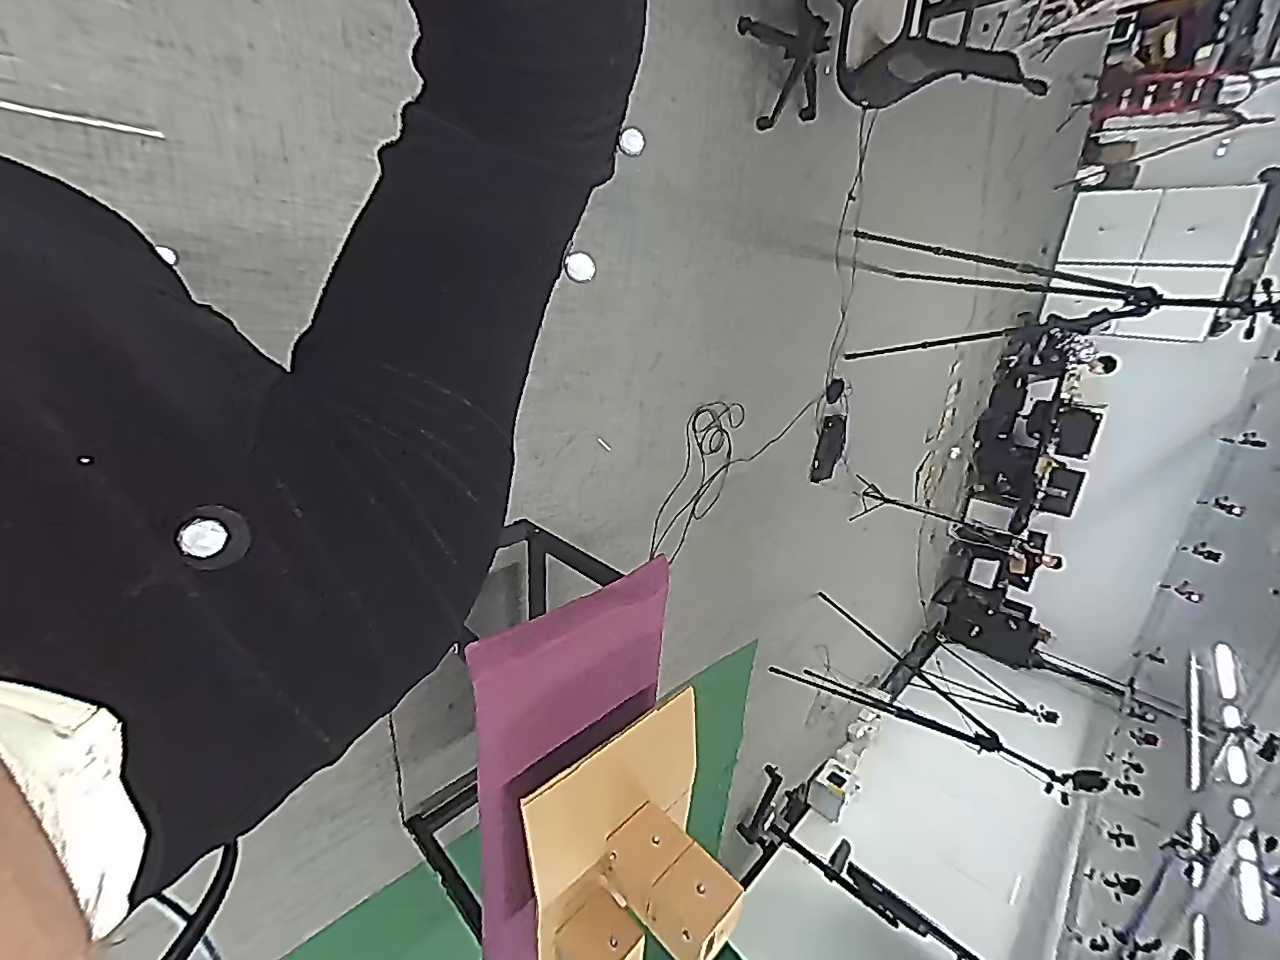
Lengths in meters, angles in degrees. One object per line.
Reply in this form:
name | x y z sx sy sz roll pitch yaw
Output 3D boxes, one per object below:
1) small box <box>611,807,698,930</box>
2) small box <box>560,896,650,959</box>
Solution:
small box | 0.035 1.065 1.495 0.179 0.176 0.168 -19 122 -43
small box | -0.096 1.289 1.455 0.179 0.176 0.168 -17 119 -42
